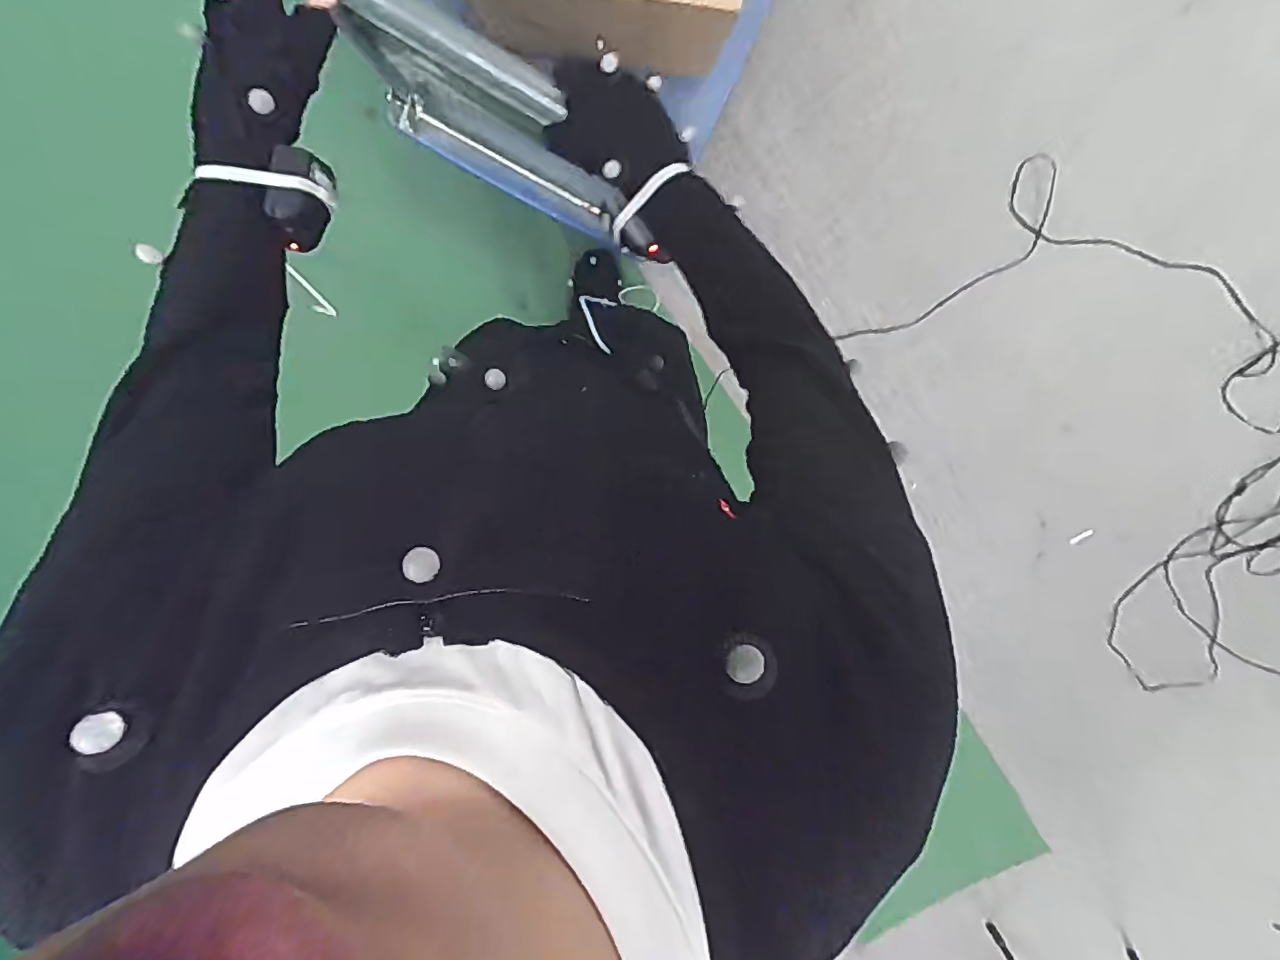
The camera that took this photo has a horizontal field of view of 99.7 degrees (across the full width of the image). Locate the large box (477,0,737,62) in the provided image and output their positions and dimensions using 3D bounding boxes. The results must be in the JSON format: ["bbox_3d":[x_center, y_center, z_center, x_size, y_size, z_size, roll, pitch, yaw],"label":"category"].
[{"bbox_3d":[-0.048,-0.888,0.824,0.408,0.320,0.320,5,112,-5],"label":"large box"}]
